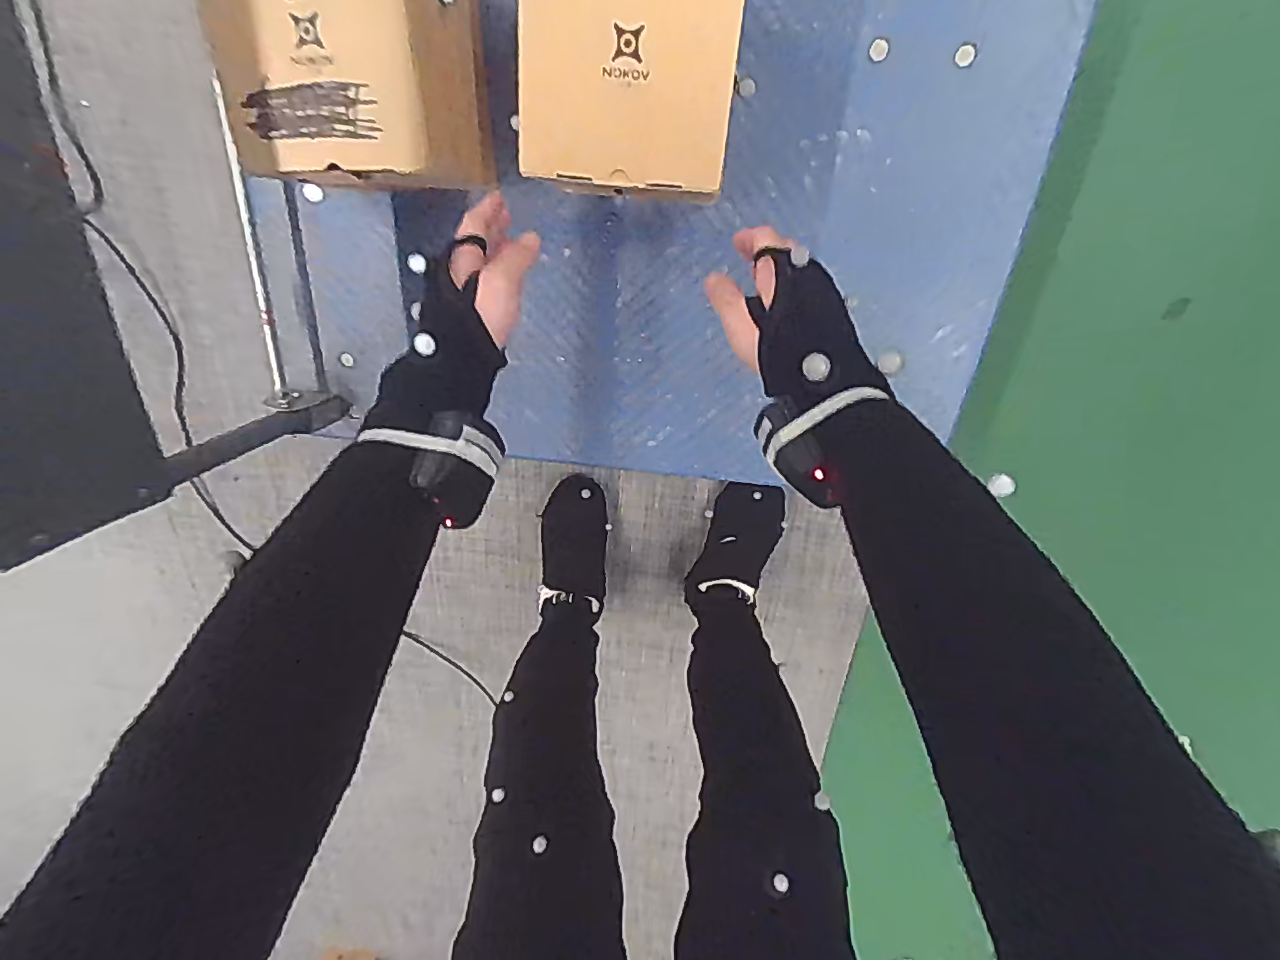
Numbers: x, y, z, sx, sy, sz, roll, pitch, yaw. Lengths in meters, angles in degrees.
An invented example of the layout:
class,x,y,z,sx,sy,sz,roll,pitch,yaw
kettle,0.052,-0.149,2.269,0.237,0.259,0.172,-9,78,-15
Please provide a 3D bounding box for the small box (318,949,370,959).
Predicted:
class,x,y,z,sx,sy,sz,roll,pitch,yaw
small box,-0.914,1.551,1.607,0.168,0.176,0.179,16,113,-4

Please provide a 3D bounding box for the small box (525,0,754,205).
class,x,y,z,sx,sy,sz,roll,pitch,yaw
small box,0.002,-0.348,0.472,0.168,0.176,0.179,7,116,3
